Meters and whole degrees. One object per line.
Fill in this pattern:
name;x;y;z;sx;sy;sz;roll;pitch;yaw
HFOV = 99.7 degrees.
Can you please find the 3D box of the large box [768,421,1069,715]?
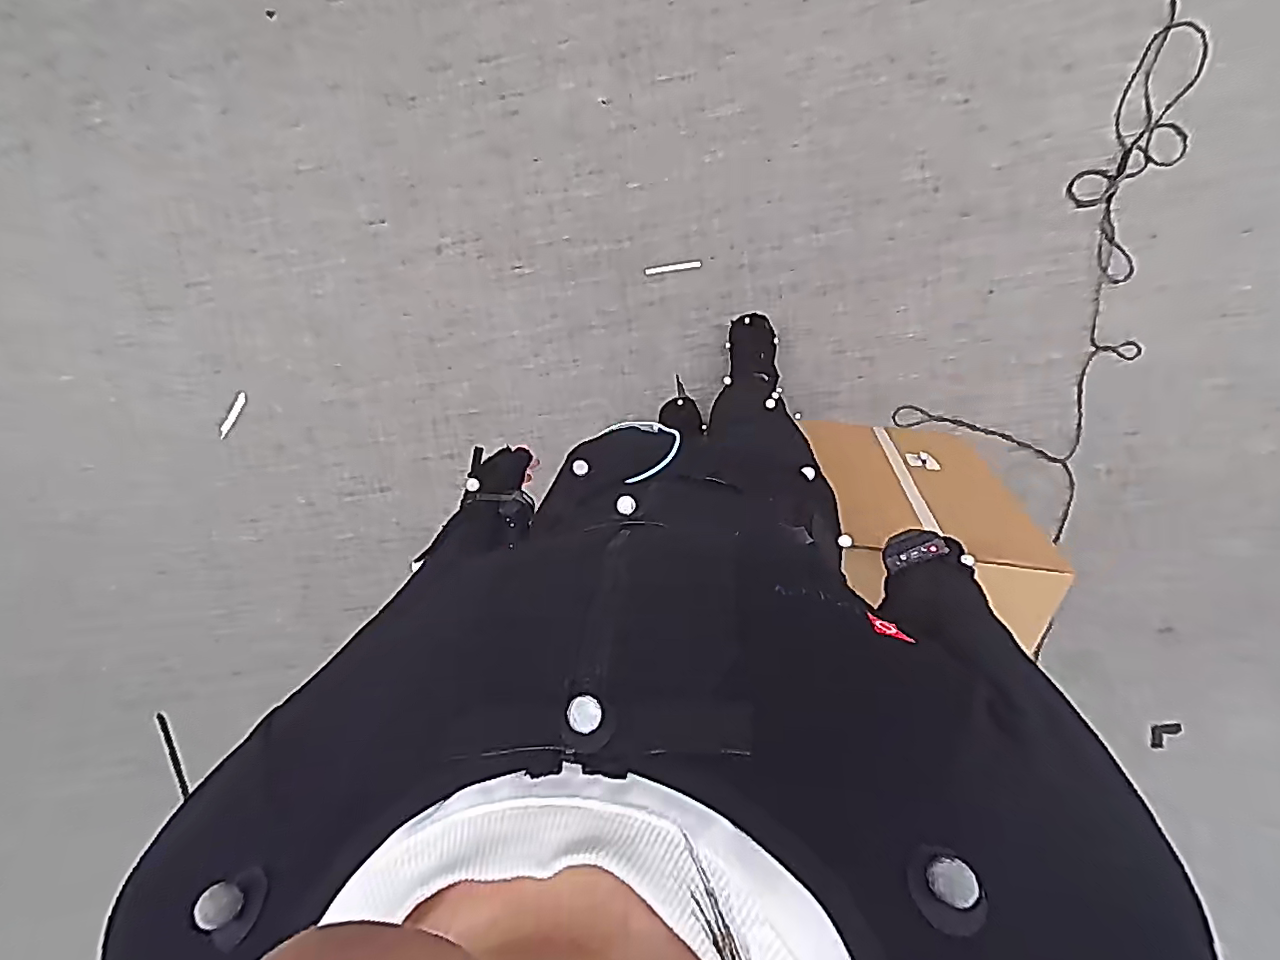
large box;0.408;0.125;0.930;0.320;0.408;0.320;7;119;5
